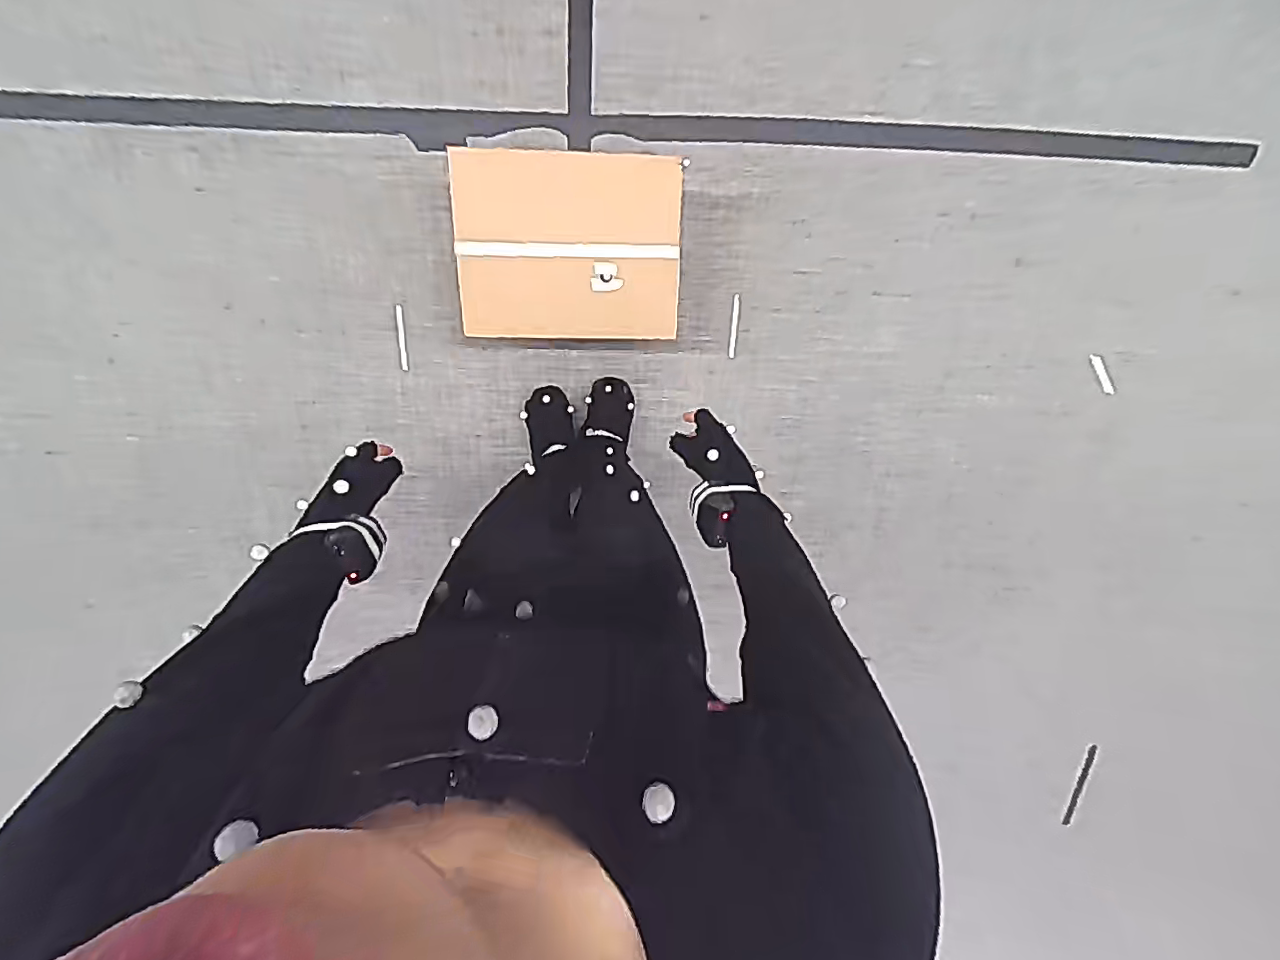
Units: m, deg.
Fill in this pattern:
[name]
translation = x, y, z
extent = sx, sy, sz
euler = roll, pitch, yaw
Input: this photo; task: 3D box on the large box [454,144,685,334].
[large box]
translation = -0.133, -0.476, 1.119
extent = 0.408, 0.320, 0.320
euler = -1, 111, -5
